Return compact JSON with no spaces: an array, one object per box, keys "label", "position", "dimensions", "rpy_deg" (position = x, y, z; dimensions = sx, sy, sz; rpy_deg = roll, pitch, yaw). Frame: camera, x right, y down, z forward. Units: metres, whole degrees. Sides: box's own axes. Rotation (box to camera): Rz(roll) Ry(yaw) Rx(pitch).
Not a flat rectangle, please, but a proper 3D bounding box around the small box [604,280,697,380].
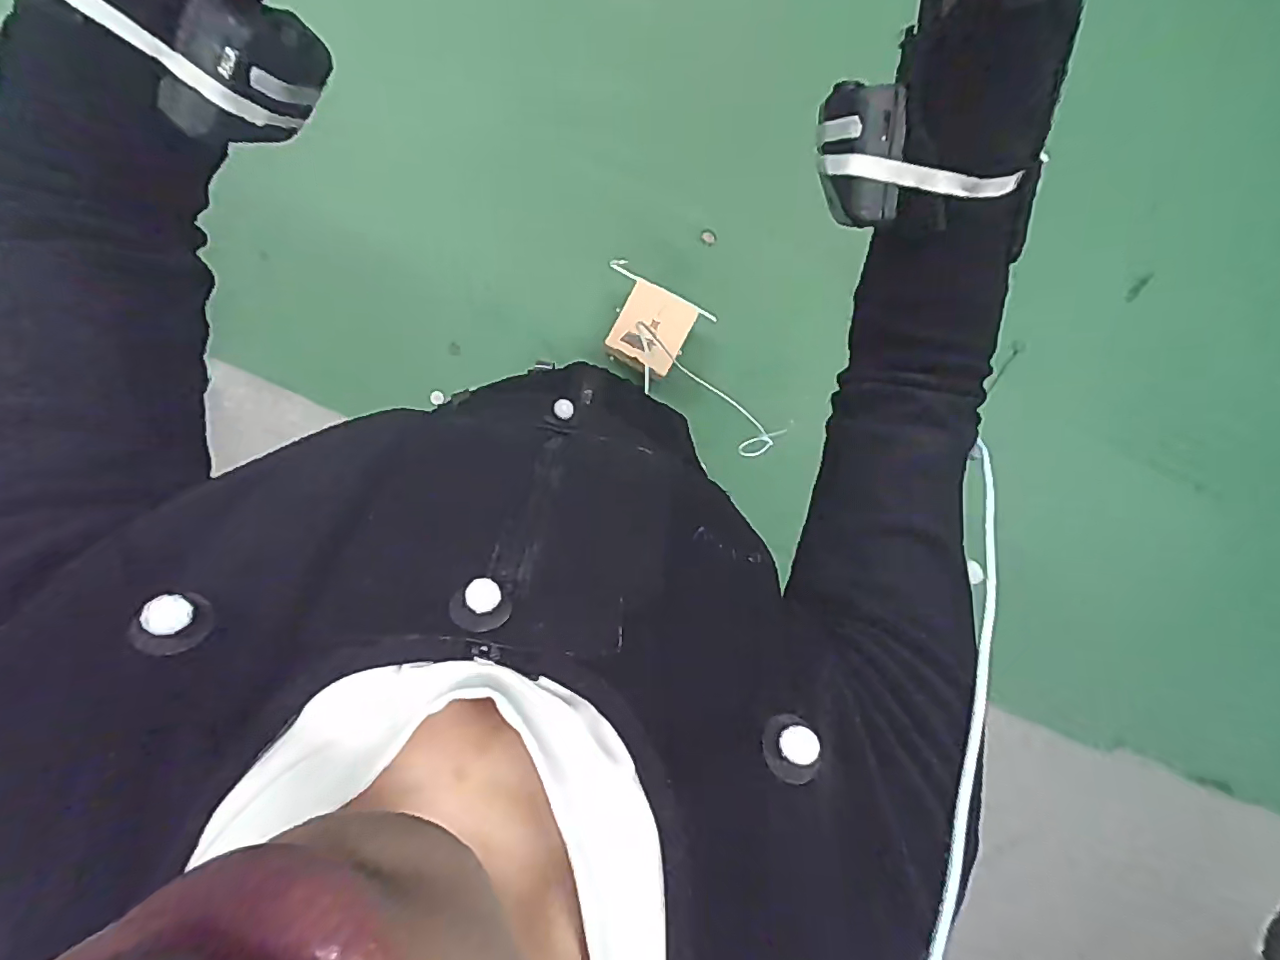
[{"label":"small box","position":[0.020,-0.365,1.359],"dimensions":[0.168,0.176,0.179],"rpy_deg":[28,93,-9]}]
